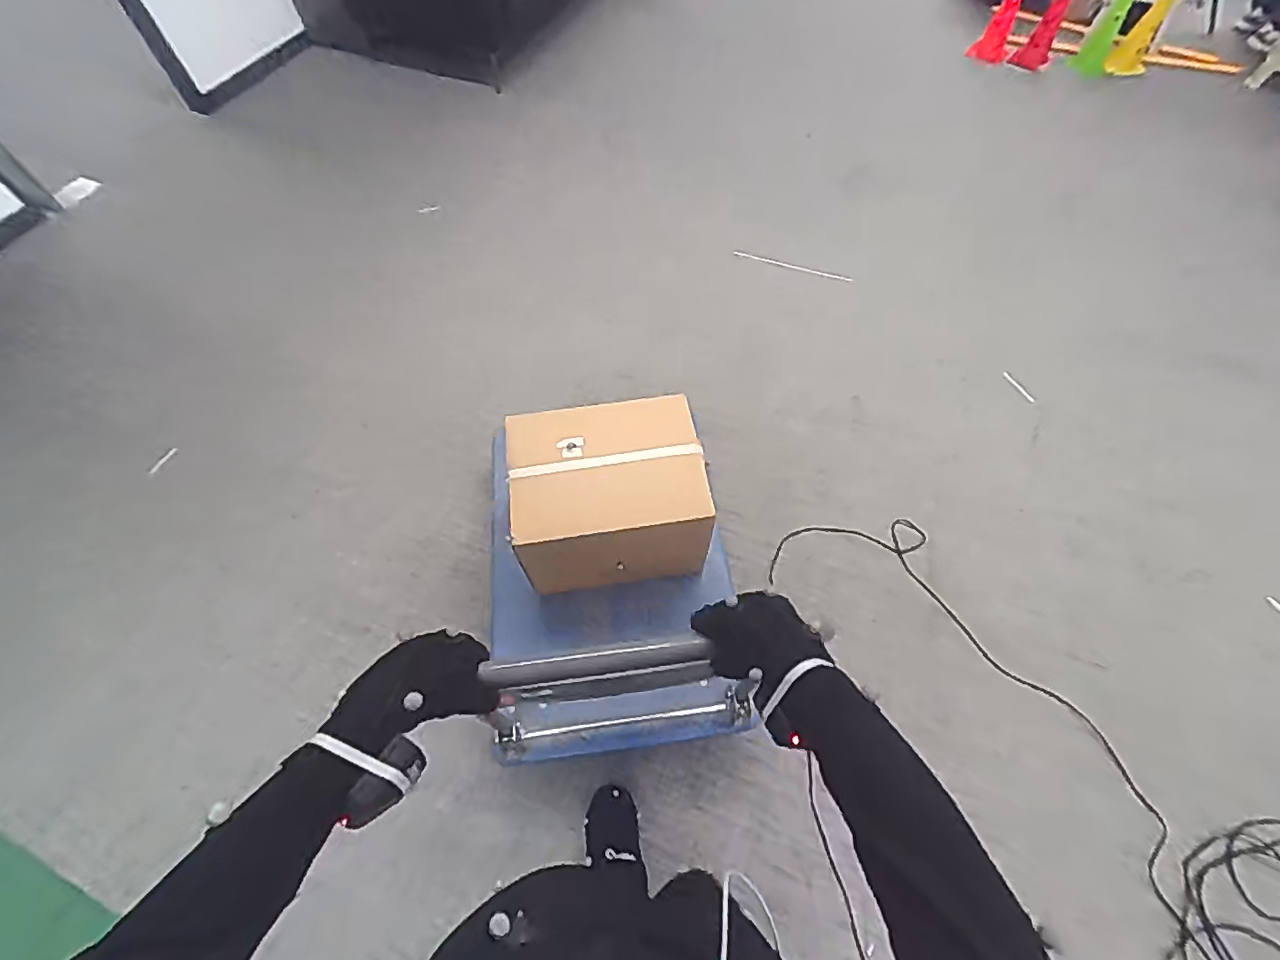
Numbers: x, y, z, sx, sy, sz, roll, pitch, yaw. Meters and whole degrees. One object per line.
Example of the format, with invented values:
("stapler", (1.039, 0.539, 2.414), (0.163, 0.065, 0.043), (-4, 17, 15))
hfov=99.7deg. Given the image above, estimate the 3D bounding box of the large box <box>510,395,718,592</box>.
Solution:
("large box", (-0.061, 0.041, 1.260), (0.408, 0.320, 0.320), (-9, 60, -4))
